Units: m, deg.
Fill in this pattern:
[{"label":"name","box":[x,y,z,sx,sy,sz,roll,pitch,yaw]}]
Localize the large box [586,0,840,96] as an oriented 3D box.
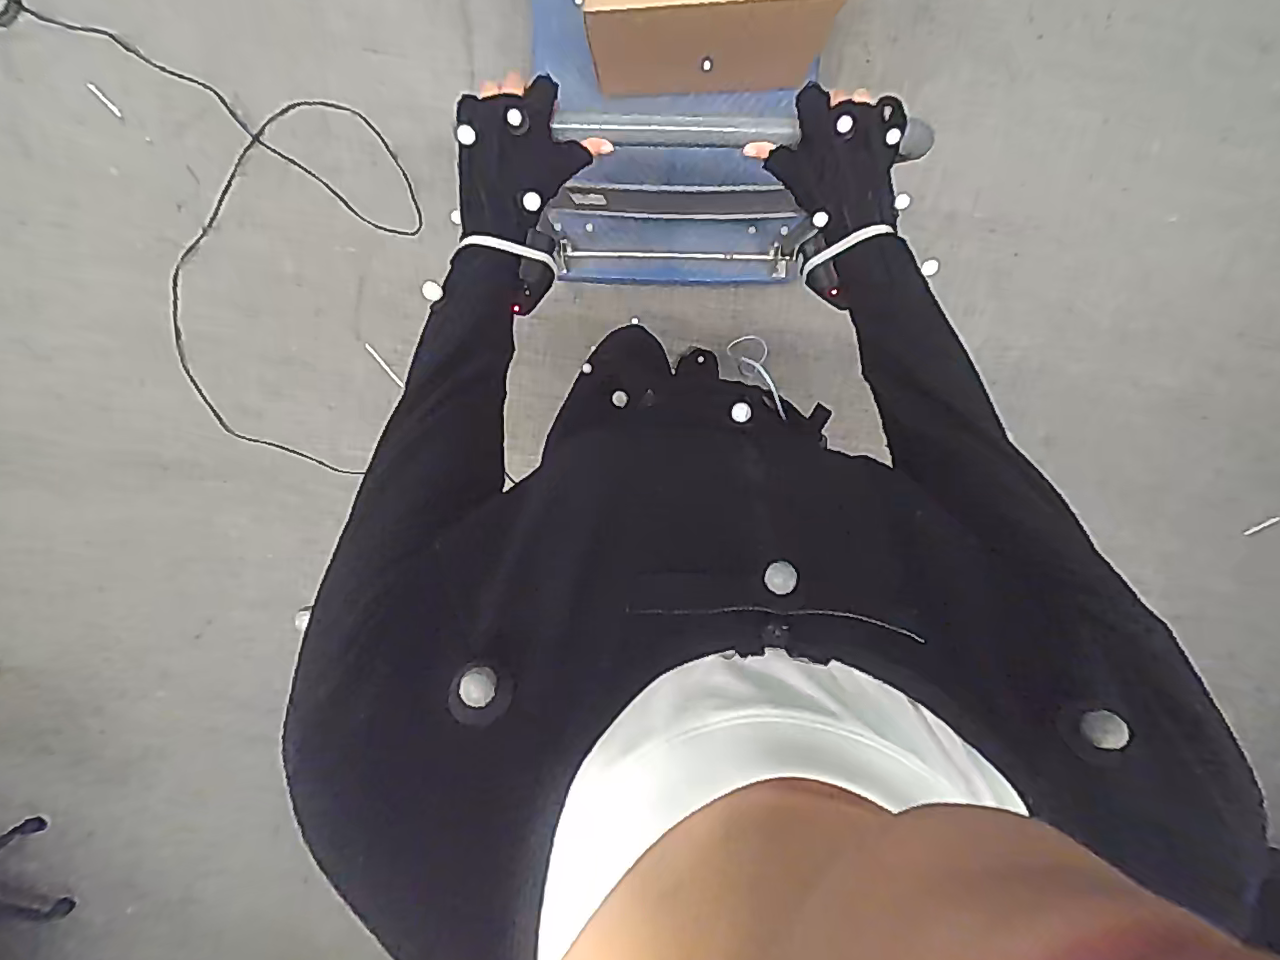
[{"label":"large box","box":[0.115,-0.916,0.933,0.408,0.320,0.320,-2,104,4]}]
